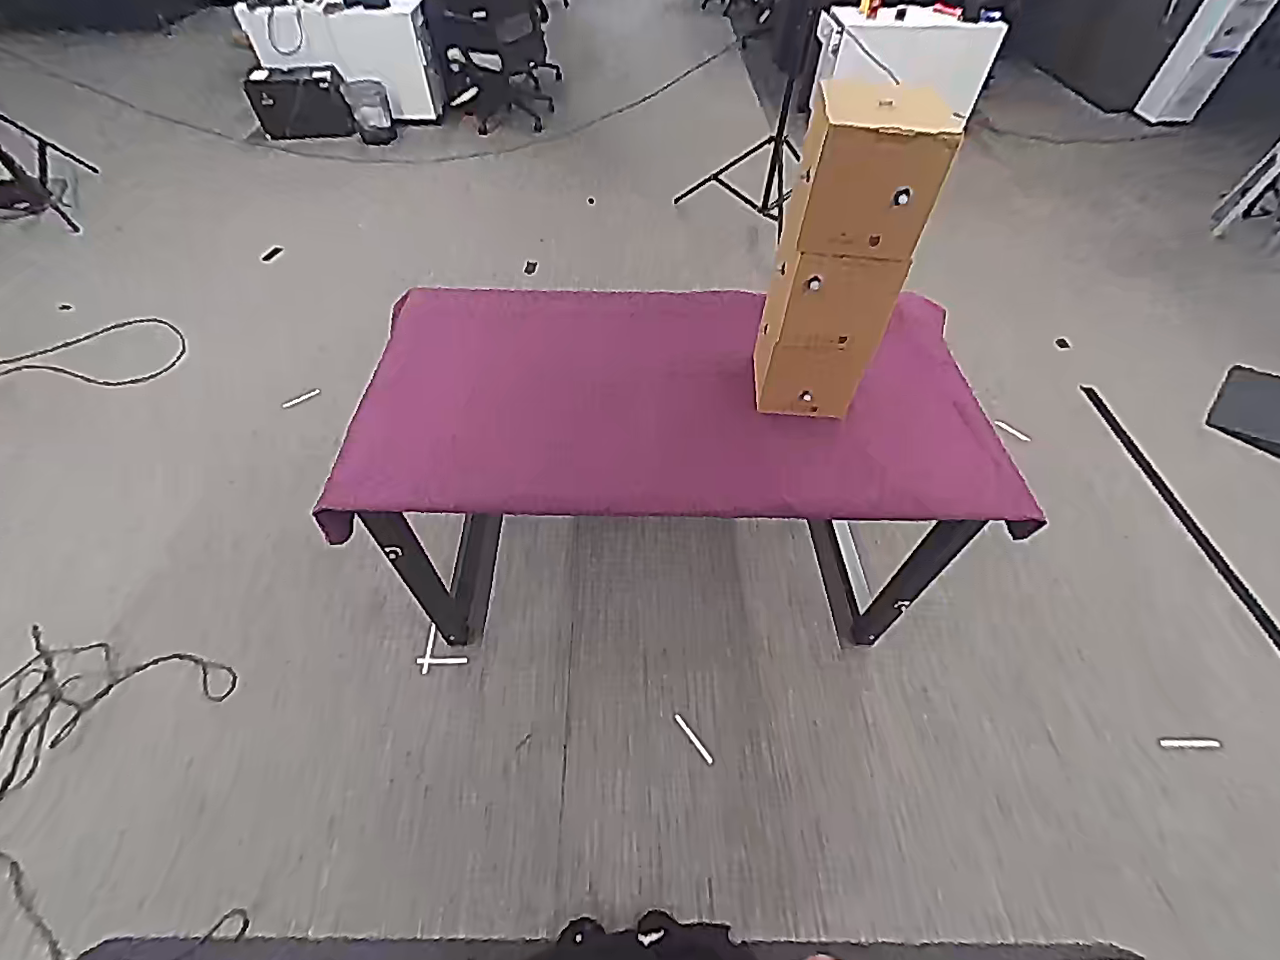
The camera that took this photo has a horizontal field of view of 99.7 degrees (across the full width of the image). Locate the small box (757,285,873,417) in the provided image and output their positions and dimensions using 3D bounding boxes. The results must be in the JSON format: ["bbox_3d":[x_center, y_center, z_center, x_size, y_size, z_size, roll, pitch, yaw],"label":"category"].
[{"bbox_3d":[0.319,-0.245,1.029,0.168,0.176,0.179,4,52,3],"label":"small box"}]

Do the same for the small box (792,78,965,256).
[{"bbox_3d":[0.320,-0.440,0.767,0.168,0.176,0.179,7,51,3],"label":"small box"}]
